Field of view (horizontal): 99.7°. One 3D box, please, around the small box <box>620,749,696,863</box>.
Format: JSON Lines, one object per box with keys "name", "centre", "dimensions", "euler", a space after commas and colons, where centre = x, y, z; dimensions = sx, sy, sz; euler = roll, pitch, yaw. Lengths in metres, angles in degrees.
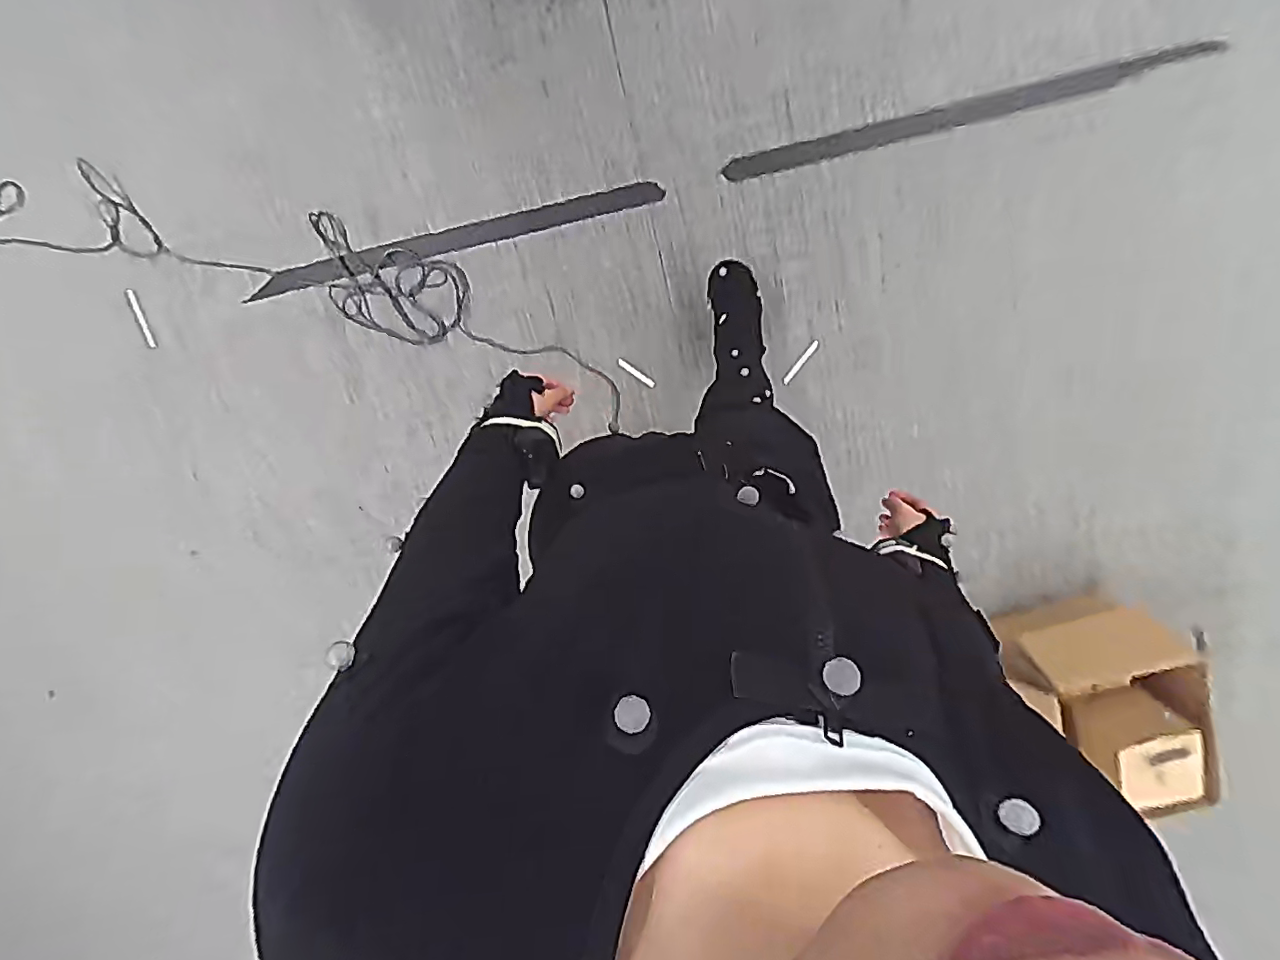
{"name": "small box", "centre": [0.049, 0.788, 1.314], "dimensions": [0.168, 0.176, 0.179], "euler": [-5, 105, 6]}
